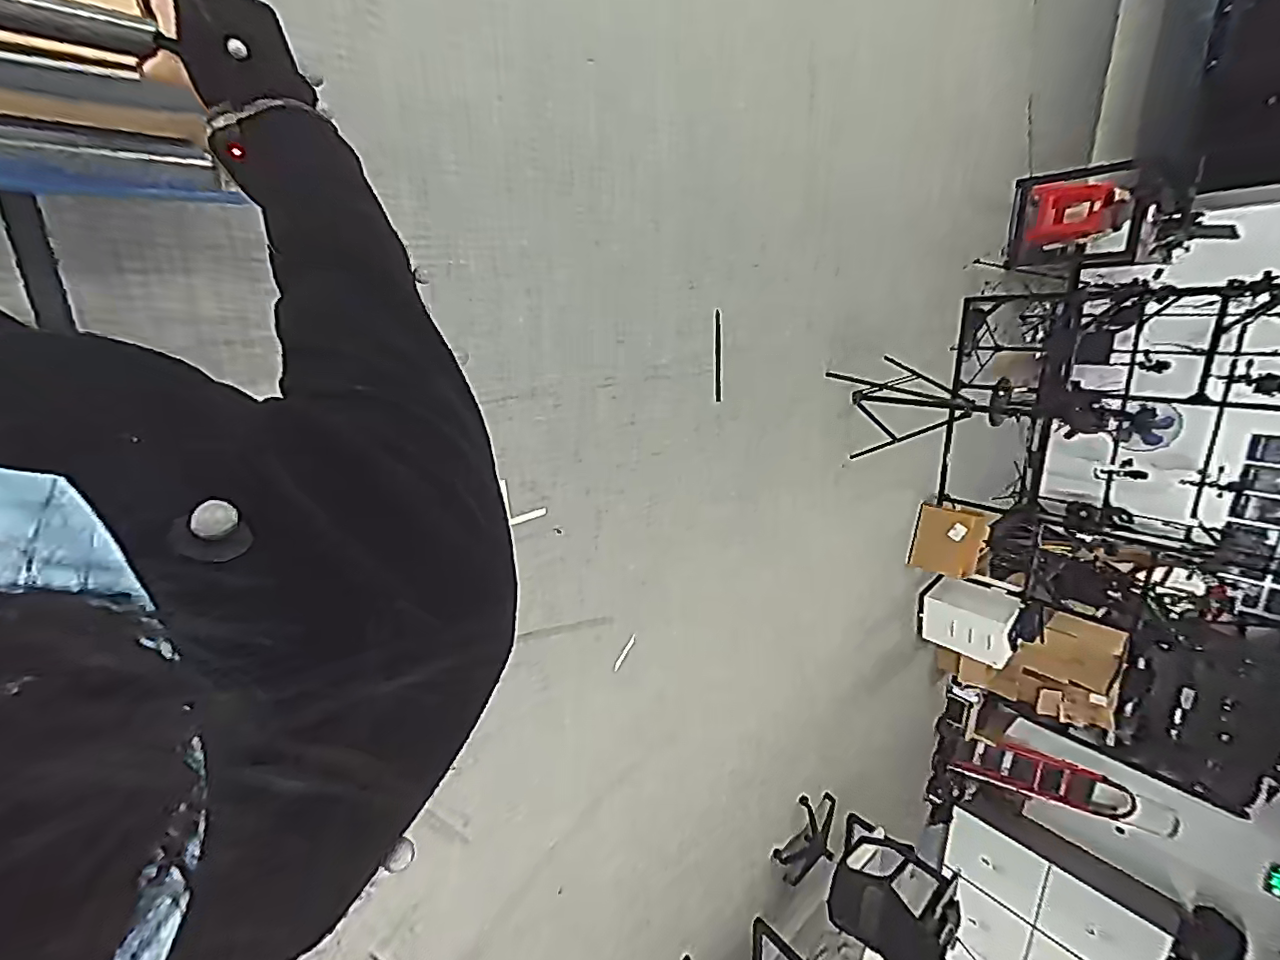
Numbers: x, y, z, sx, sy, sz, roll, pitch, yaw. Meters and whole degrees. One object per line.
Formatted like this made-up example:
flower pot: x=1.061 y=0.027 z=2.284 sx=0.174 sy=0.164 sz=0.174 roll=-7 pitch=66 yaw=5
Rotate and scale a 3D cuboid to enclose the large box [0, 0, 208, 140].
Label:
large box: x=-0.832 y=-0.656 z=0.661 sx=0.408 sy=0.320 sz=0.320 roll=-17 pitch=113 yaw=-39
